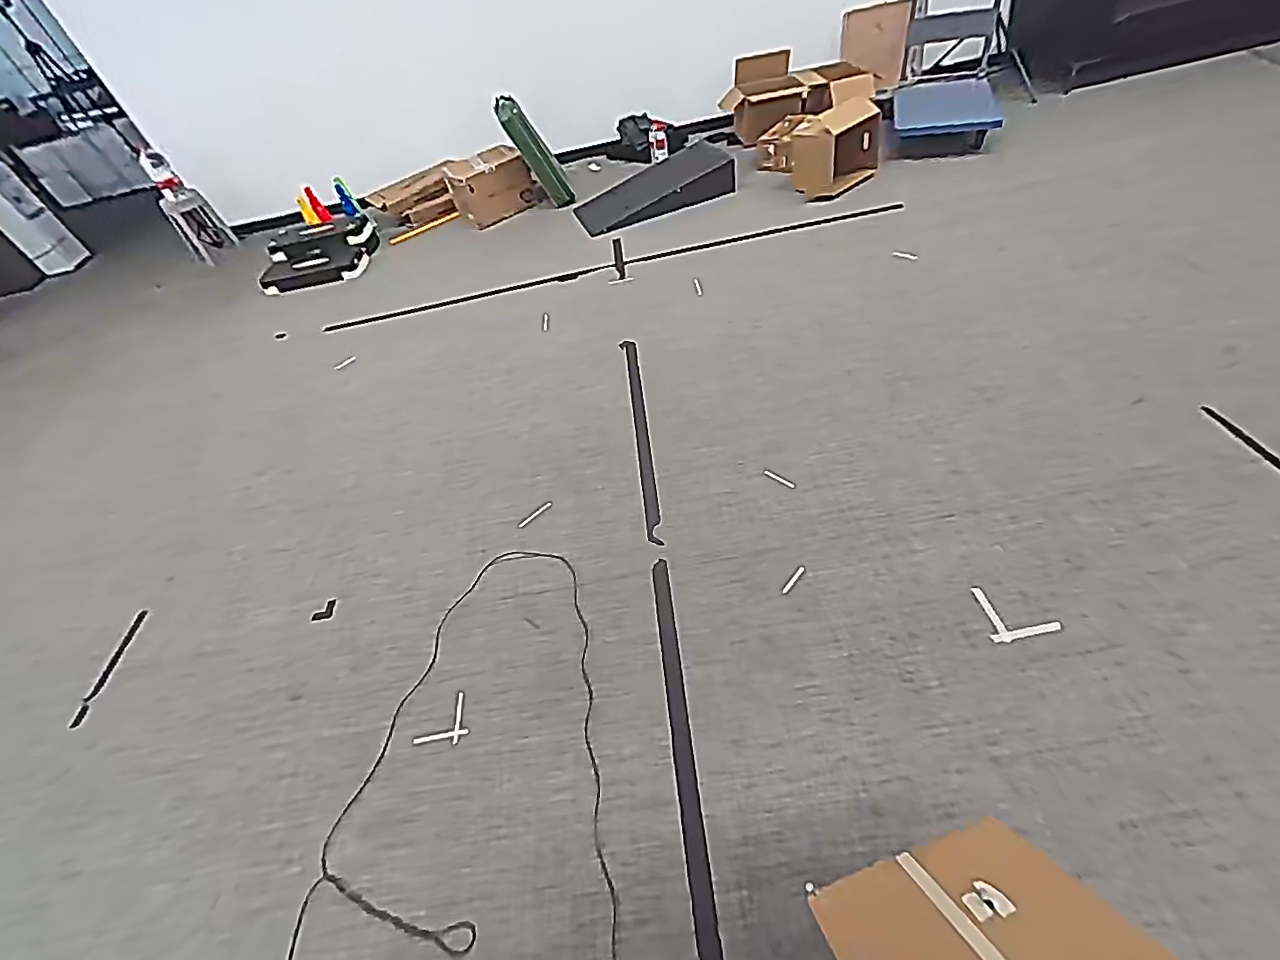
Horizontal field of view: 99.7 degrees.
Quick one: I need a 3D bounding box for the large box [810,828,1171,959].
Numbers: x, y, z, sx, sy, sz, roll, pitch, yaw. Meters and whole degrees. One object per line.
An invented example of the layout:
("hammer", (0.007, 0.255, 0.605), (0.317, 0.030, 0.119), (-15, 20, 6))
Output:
("large box", (0.455, 0.697, 0.604), (0.320, 0.408, 0.320), (-18, 84, -5))
